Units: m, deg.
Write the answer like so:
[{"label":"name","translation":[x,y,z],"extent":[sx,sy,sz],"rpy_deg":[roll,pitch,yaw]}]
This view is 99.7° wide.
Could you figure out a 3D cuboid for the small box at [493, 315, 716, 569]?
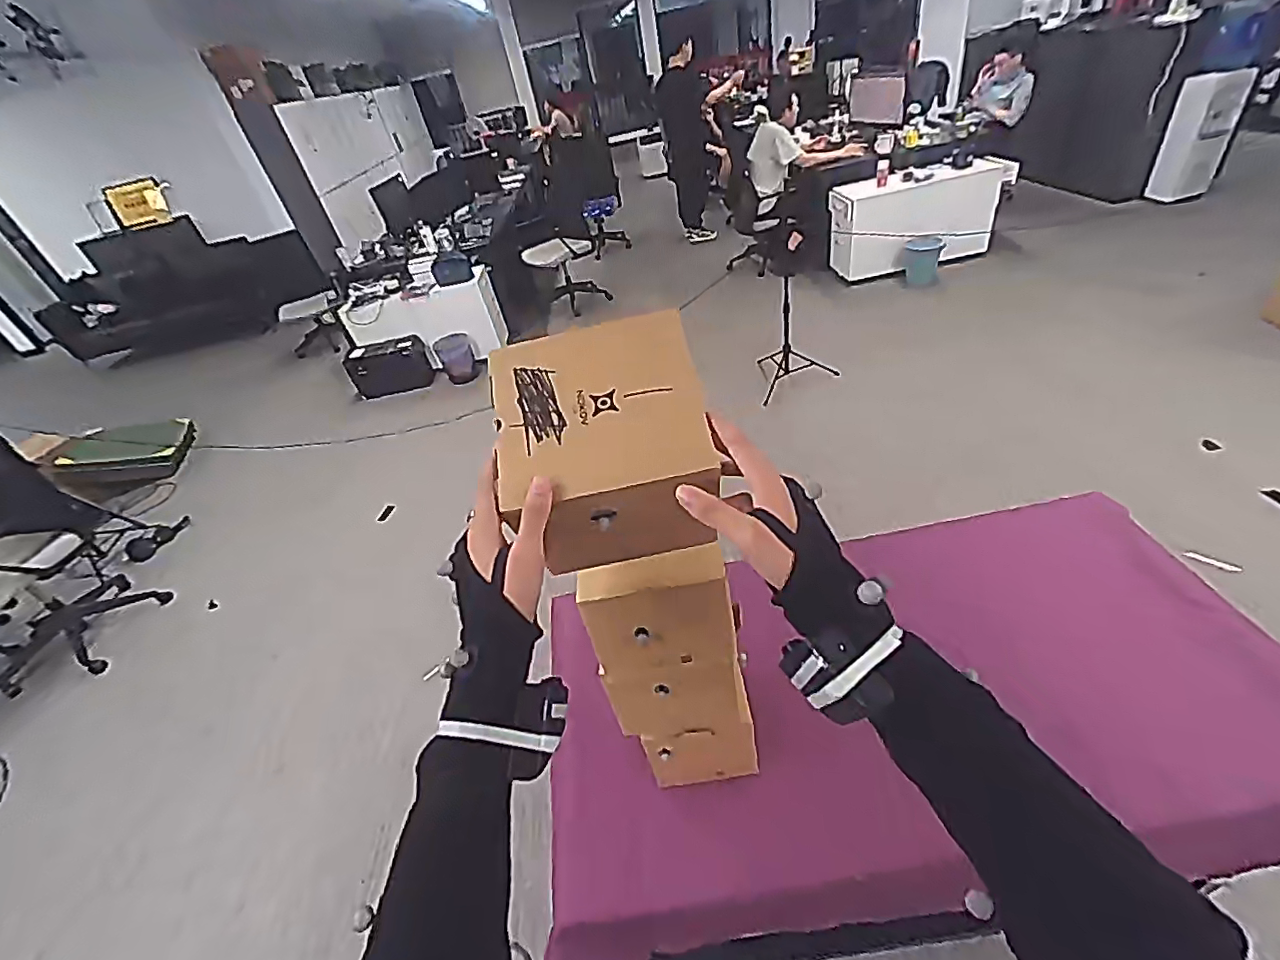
[{"label":"small box","translation":[-0.028,-0.026,0.525],"extent":[0.179,0.176,0.168],"rpy_deg":[-12,62,1]}]

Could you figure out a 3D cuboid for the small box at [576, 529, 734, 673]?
[{"label":"small box","translation":[0.020,0.128,0.694],"extent":[0.168,0.176,0.179],"rpy_deg":[-11,37,3]}]

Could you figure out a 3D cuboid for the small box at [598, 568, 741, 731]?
[{"label":"small box","translation":[0.049,0.251,0.797],"extent":[0.179,0.176,0.168],"rpy_deg":[-6,39,8]}]
